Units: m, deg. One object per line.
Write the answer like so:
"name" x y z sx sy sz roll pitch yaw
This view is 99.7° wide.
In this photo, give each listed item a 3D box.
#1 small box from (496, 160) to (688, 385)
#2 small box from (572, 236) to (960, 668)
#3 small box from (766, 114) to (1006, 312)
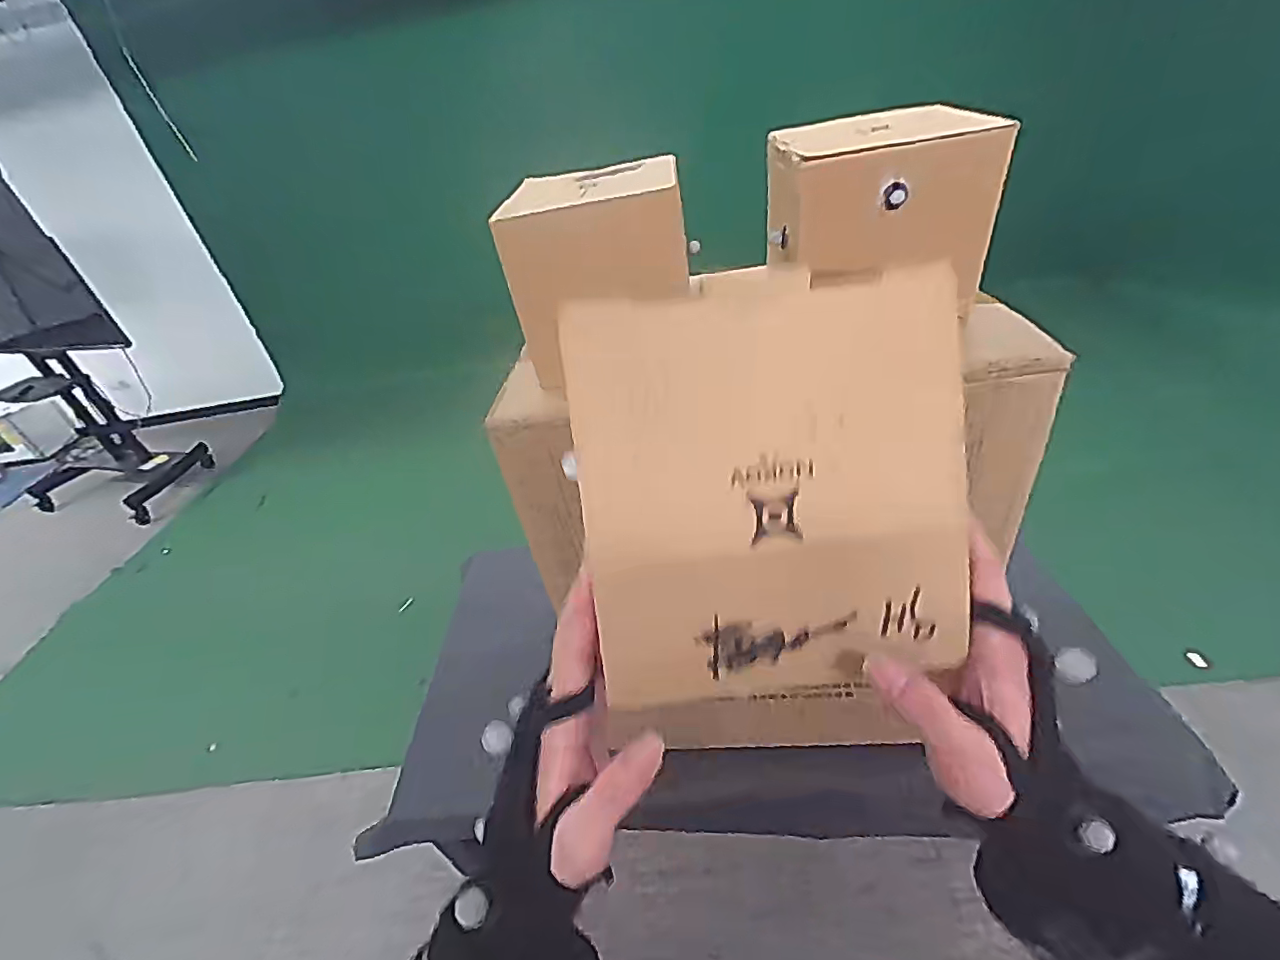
"small box" -0.031 -0.220 0.575 0.168 0.176 0.179 -7 38 8
"small box" 0.051 -0.020 0.311 0.168 0.179 0.176 -6 8 -4
"small box" 0.231 -0.265 0.564 0.179 0.176 0.168 -4 39 5
